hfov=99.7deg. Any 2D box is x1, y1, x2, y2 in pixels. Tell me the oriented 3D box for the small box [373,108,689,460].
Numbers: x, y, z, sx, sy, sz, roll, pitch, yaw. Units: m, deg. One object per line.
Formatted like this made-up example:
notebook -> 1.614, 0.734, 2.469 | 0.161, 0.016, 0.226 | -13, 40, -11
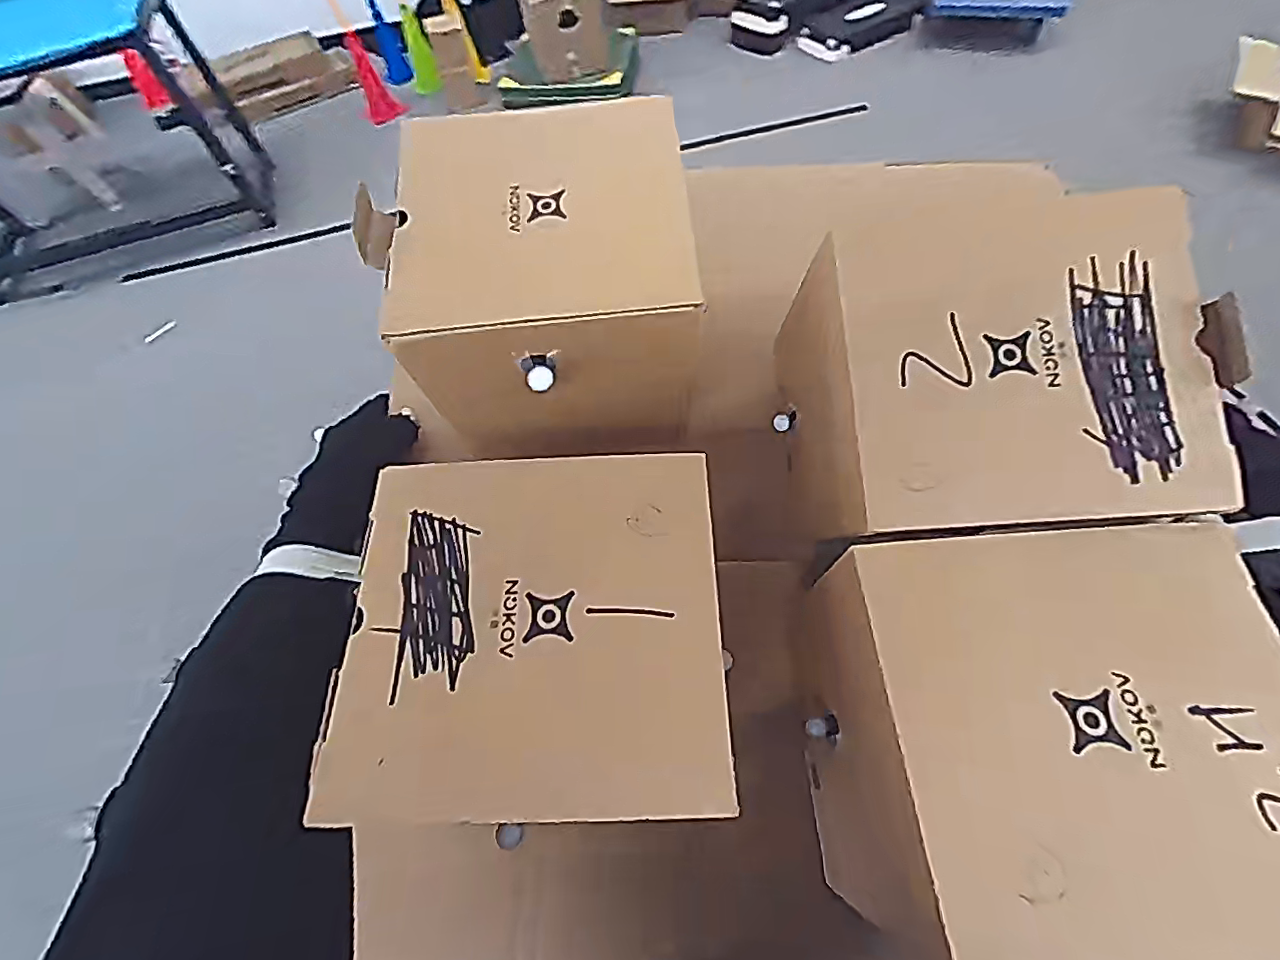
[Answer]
small box -> -0.063, -0.126, 0.396 | 0.179, 0.176, 0.168 | -7, 68, 1
